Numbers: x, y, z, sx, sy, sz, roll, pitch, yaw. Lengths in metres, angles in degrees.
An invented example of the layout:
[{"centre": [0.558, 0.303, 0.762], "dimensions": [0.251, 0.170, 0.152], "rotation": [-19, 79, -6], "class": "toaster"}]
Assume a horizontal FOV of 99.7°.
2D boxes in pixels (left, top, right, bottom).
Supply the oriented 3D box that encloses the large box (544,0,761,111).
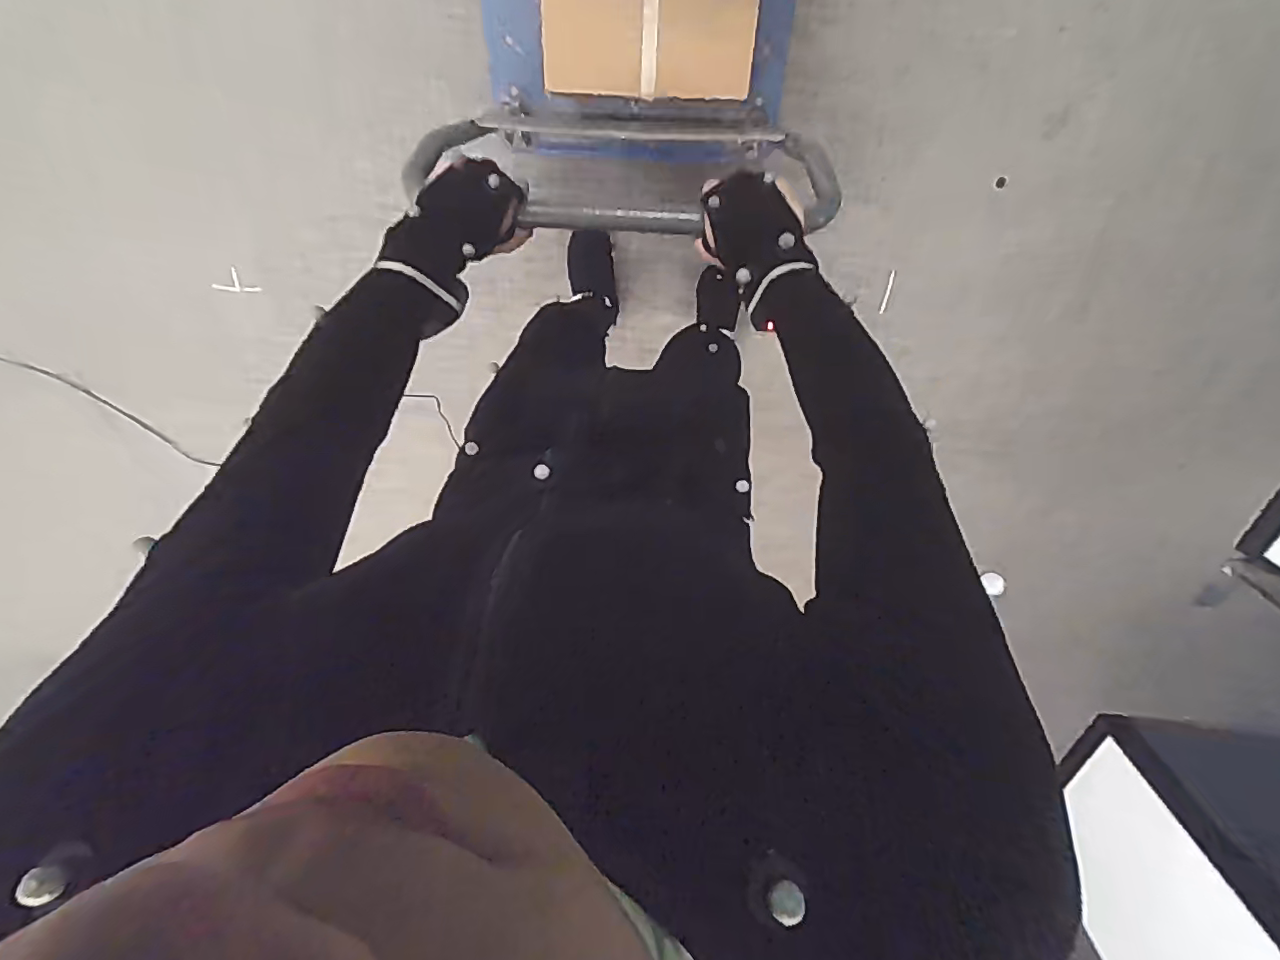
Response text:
[{"centre": [0.024, -0.832, 0.854], "dimensions": [0.320, 0.320, 0.408], "rotation": [2, 123, 0], "class": "large box"}]
